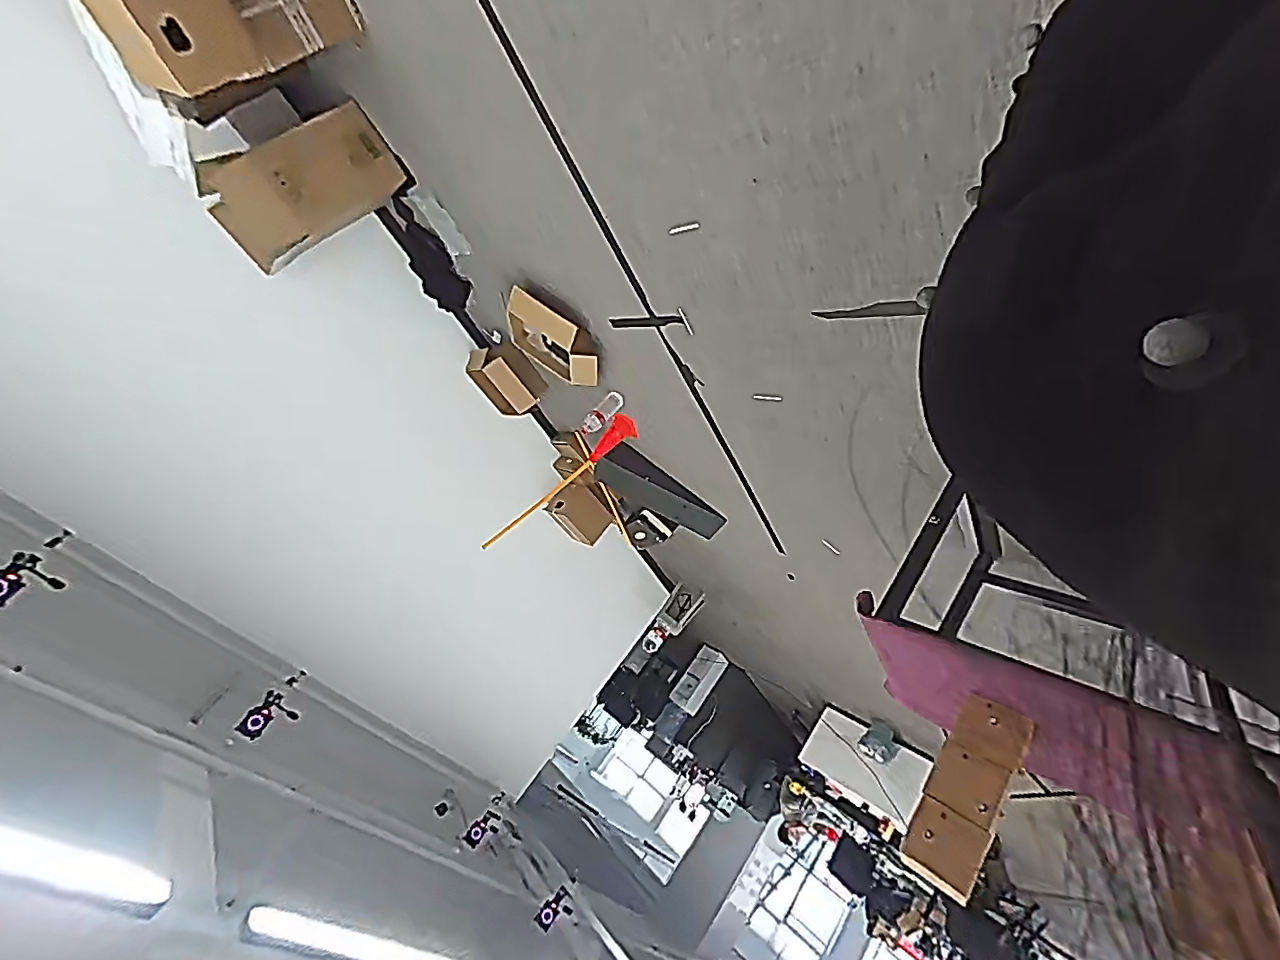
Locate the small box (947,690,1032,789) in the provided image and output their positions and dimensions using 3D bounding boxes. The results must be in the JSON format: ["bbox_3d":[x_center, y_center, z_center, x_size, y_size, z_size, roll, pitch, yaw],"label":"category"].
[{"bbox_3d":[1.015,0.749,1.570,0.168,0.176,0.179,19,151,43],"label":"small box"}]

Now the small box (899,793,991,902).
[{"bbox_3d":[0.817,0.979,1.449,0.168,0.176,0.179,22,154,43],"label":"small box"}]

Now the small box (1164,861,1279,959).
[{"bbox_3d":[1.228,0.940,1.118,0.168,0.176,0.179,17,150,46],"label":"small box"}]

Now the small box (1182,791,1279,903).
[{"bbox_3d":[1.328,0.823,1.177,0.168,0.176,0.179,17,148,47],"label":"small box"}]
